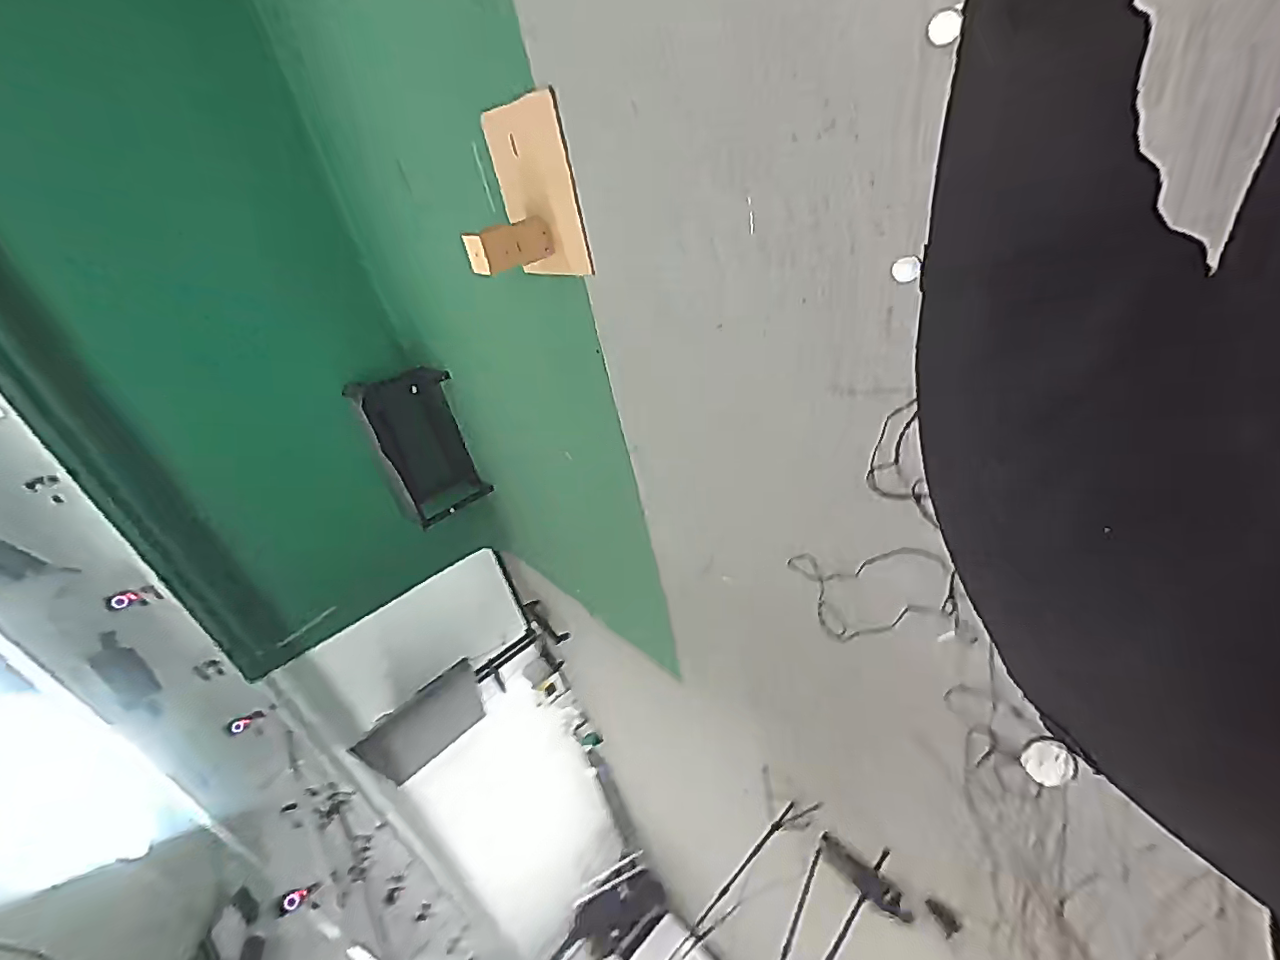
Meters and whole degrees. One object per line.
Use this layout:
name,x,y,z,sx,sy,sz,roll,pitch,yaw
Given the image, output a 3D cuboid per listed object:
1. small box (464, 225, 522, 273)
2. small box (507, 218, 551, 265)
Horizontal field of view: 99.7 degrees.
small box,-0.661,-1.047,2.443,0.179,0.176,0.168,27,138,43
small box,-0.531,-1.114,2.516,0.179,0.176,0.168,27,139,45
